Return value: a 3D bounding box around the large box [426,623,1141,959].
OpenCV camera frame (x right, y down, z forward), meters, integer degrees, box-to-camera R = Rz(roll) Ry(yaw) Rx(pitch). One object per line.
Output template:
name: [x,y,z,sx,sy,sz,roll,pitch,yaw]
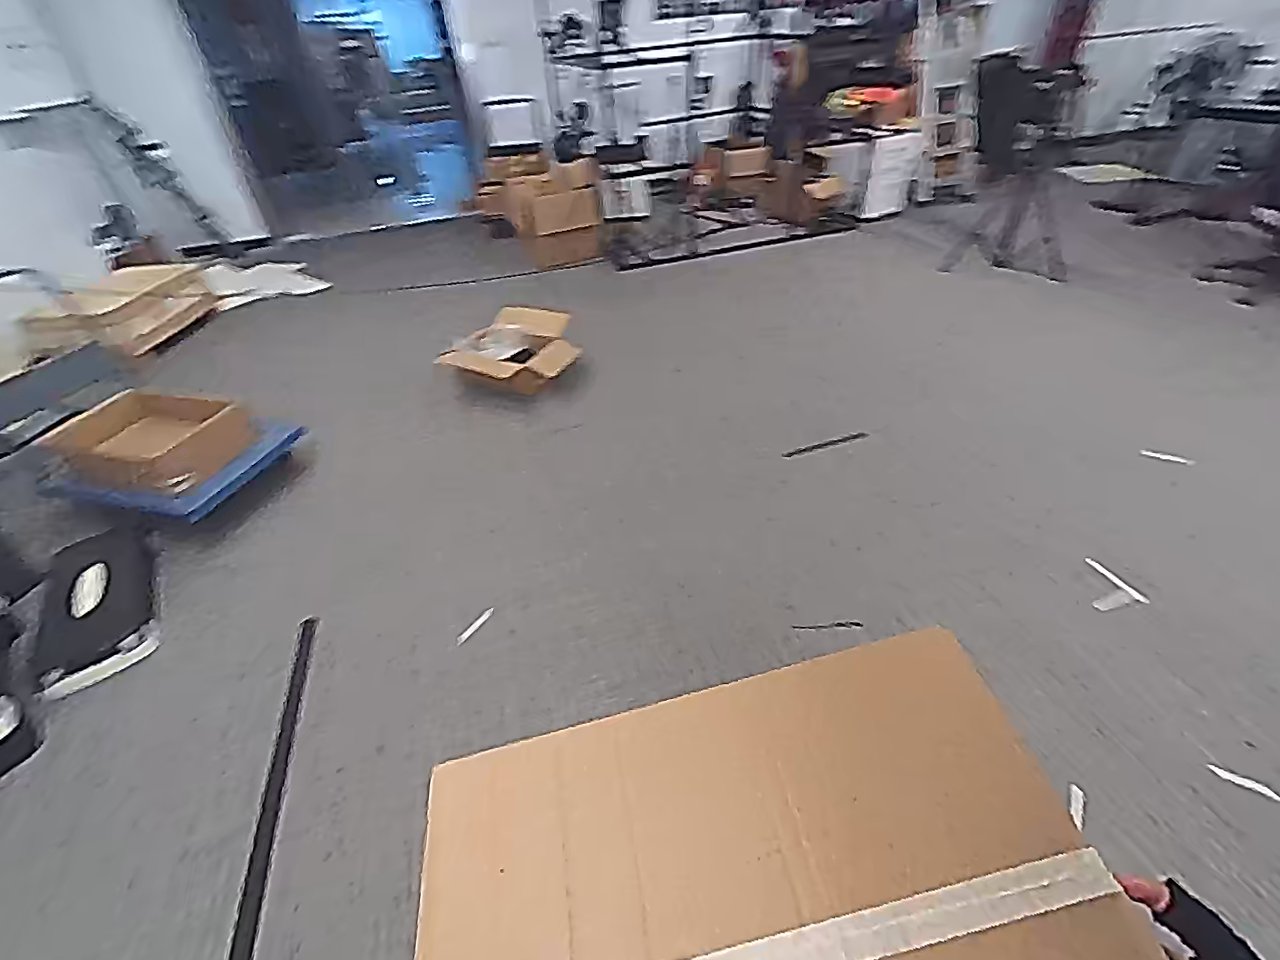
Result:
large box: [0.094,0.371,0.422,0.408,0.320,0.320,-17,45,0]
